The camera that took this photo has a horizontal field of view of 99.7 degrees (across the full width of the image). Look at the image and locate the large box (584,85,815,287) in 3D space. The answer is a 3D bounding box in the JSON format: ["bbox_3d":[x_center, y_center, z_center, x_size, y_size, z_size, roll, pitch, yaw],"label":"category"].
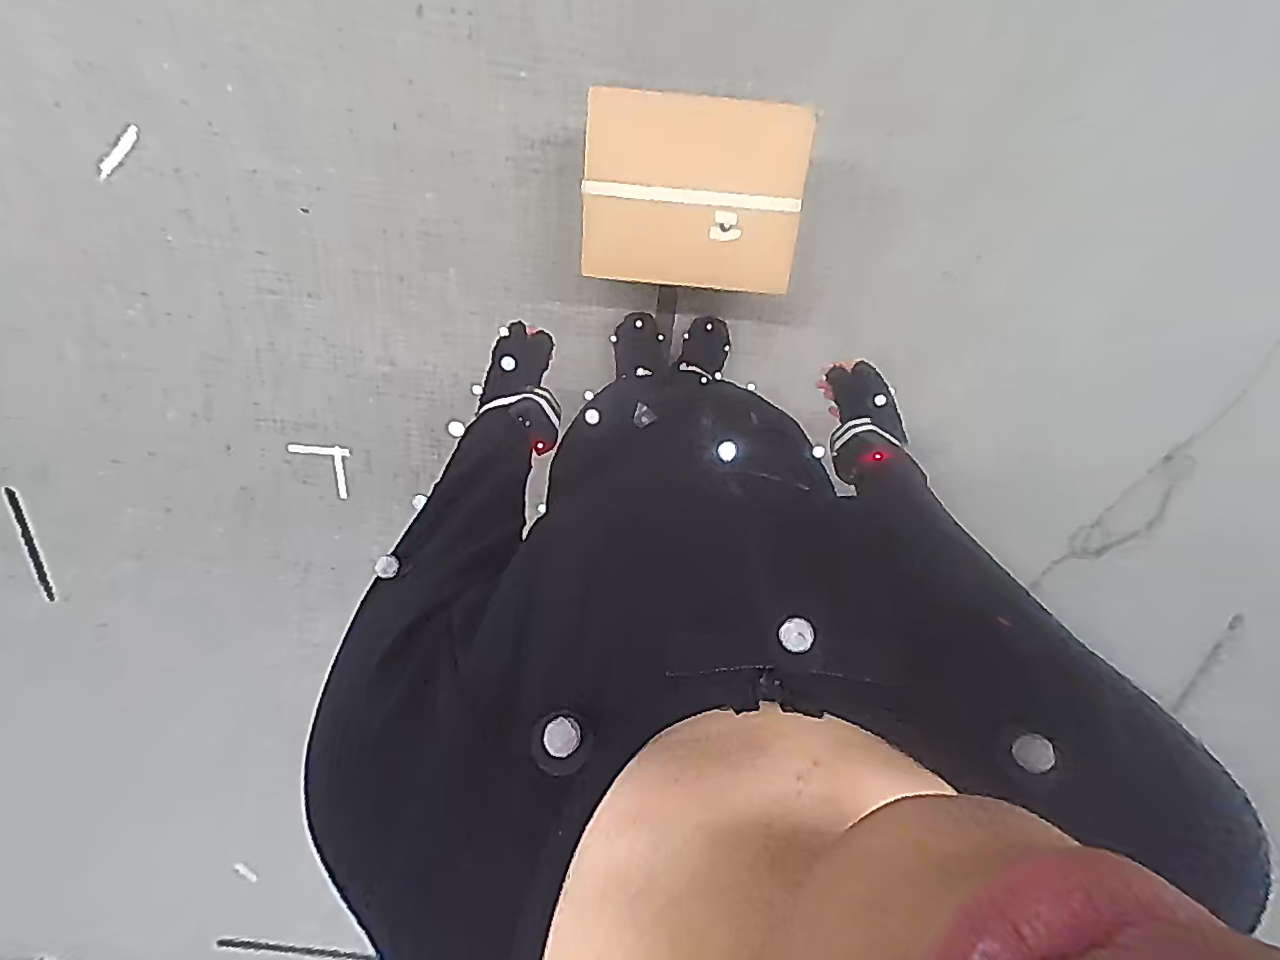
[{"bbox_3d":[0.097,-0.584,1.131,0.408,0.320,0.320,4,113,-1],"label":"large box"}]
